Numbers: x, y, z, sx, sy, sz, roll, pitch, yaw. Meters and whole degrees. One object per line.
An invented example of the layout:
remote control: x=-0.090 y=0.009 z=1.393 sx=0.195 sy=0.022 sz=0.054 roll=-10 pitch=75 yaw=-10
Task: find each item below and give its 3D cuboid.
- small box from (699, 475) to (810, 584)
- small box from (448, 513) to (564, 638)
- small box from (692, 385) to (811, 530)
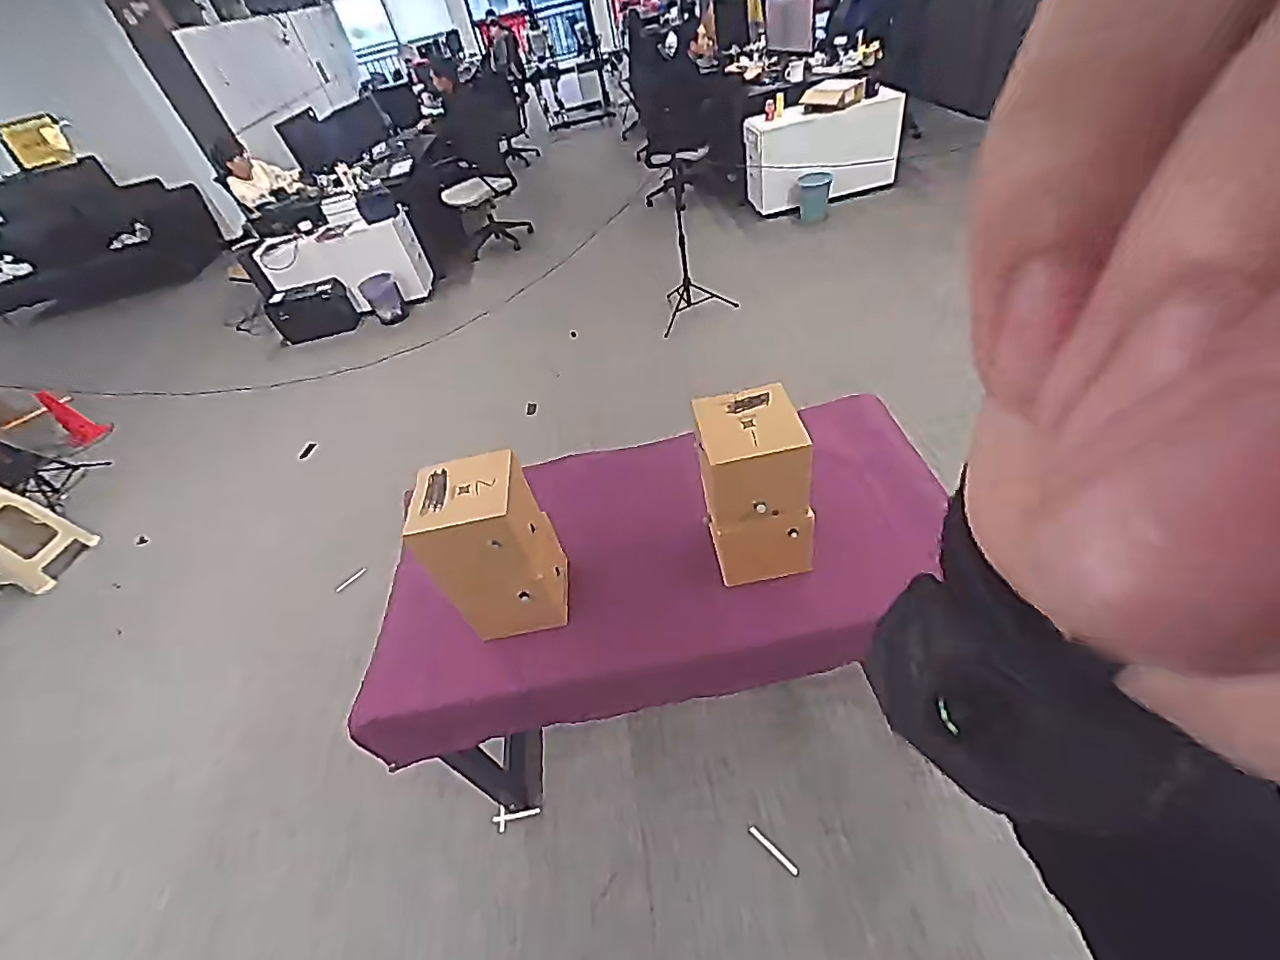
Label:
small box: x=0.224 y=0.084 z=1.062 sx=0.179 sy=0.176 sz=0.168 roll=-11 pitch=43 yaw=3
small box: x=-0.253 y=0.192 z=1.073 sx=0.179 sy=0.176 sz=0.168 roll=-11 pitch=44 yaw=3
small box: x=0.191 y=-0.039 z=0.957 sx=0.168 sy=0.176 sz=0.179 roll=-12 pitch=44 yaw=3
